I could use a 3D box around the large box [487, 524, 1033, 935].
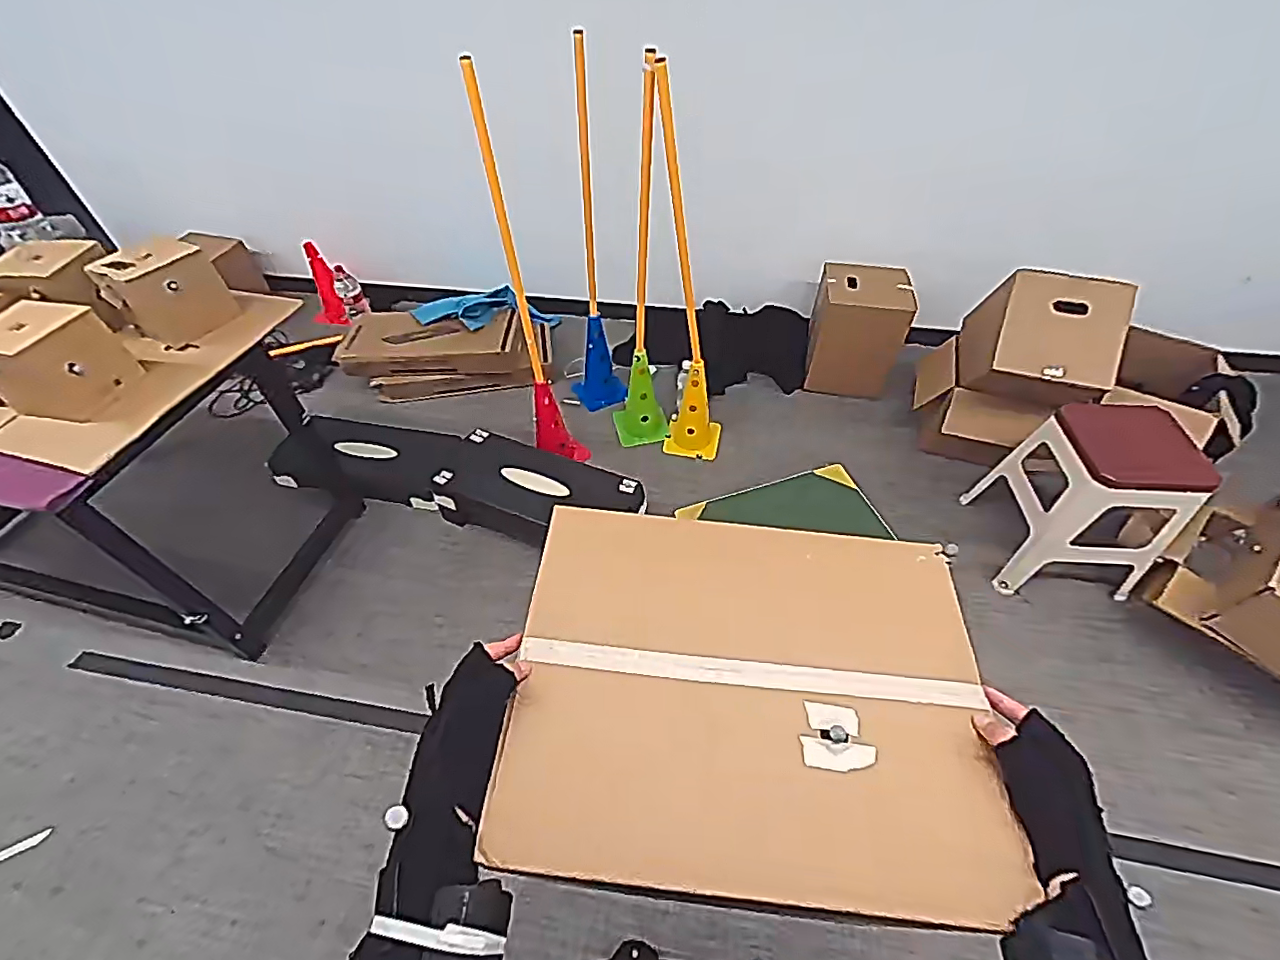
[{"bbox_3d":[0.089,0.275,0.593,0.408,0.320,0.320,6,52,2],"label":"large box"}]
